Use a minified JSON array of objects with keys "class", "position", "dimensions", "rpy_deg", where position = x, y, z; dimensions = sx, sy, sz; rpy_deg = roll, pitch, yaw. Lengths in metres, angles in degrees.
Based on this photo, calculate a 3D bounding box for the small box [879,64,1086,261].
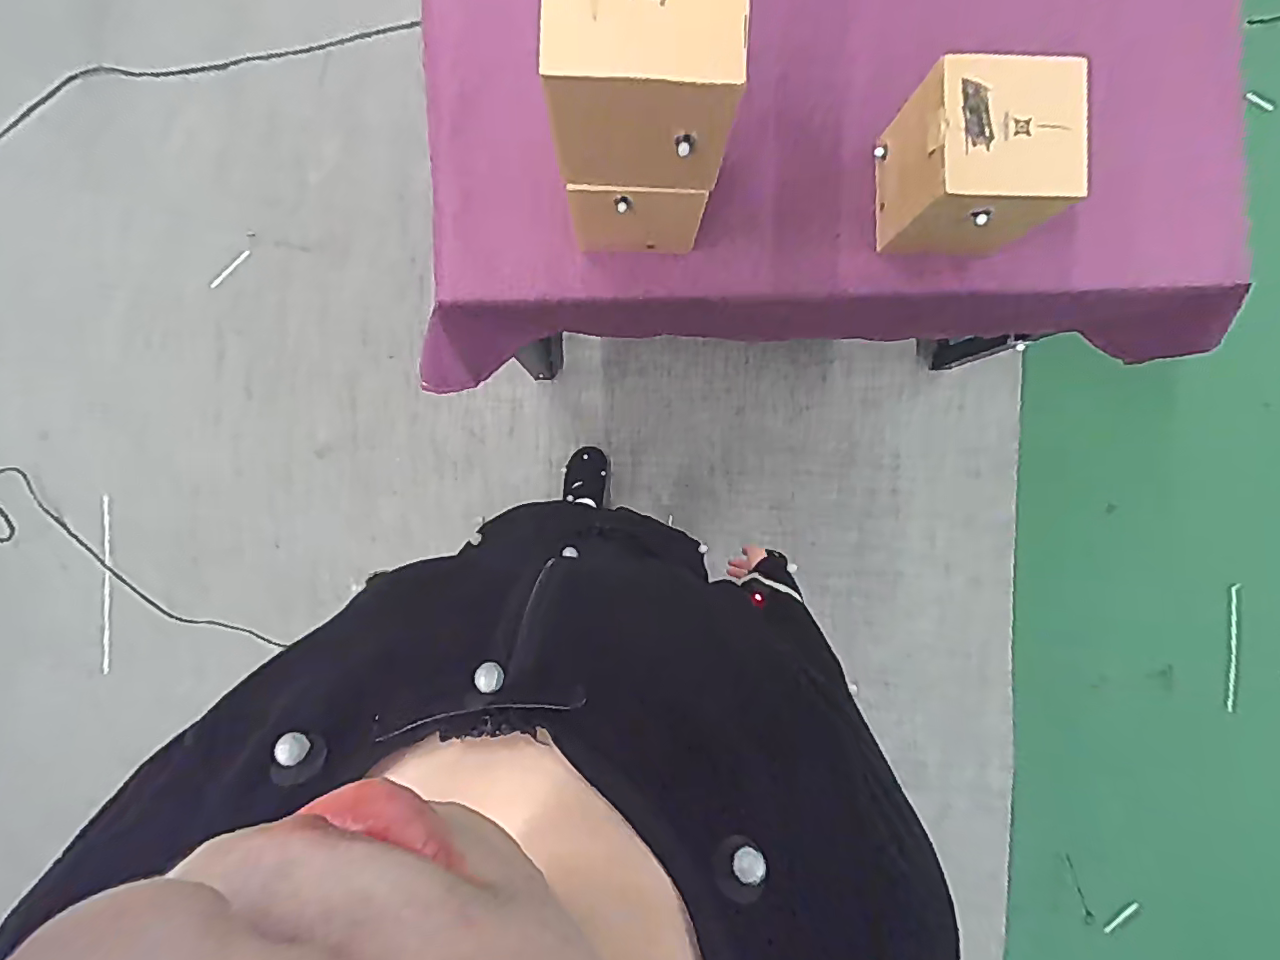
[{"class":"small box","position":[0.436,-0.403,0.713],"dimensions":[0.179,0.176,0.168],"rpy_deg":[0,90,-2]}]

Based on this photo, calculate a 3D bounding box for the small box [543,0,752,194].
[{"class":"small box","position":[0.006,-0.408,0.535],"dimensions":[0.179,0.176,0.168],"rpy_deg":[2,90,-1]}]

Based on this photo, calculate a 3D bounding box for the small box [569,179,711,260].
[{"class":"small box","position":[0.000,-0.409,0.699],"dimensions":[0.168,0.176,0.179],"rpy_deg":[1,89,-1]}]
